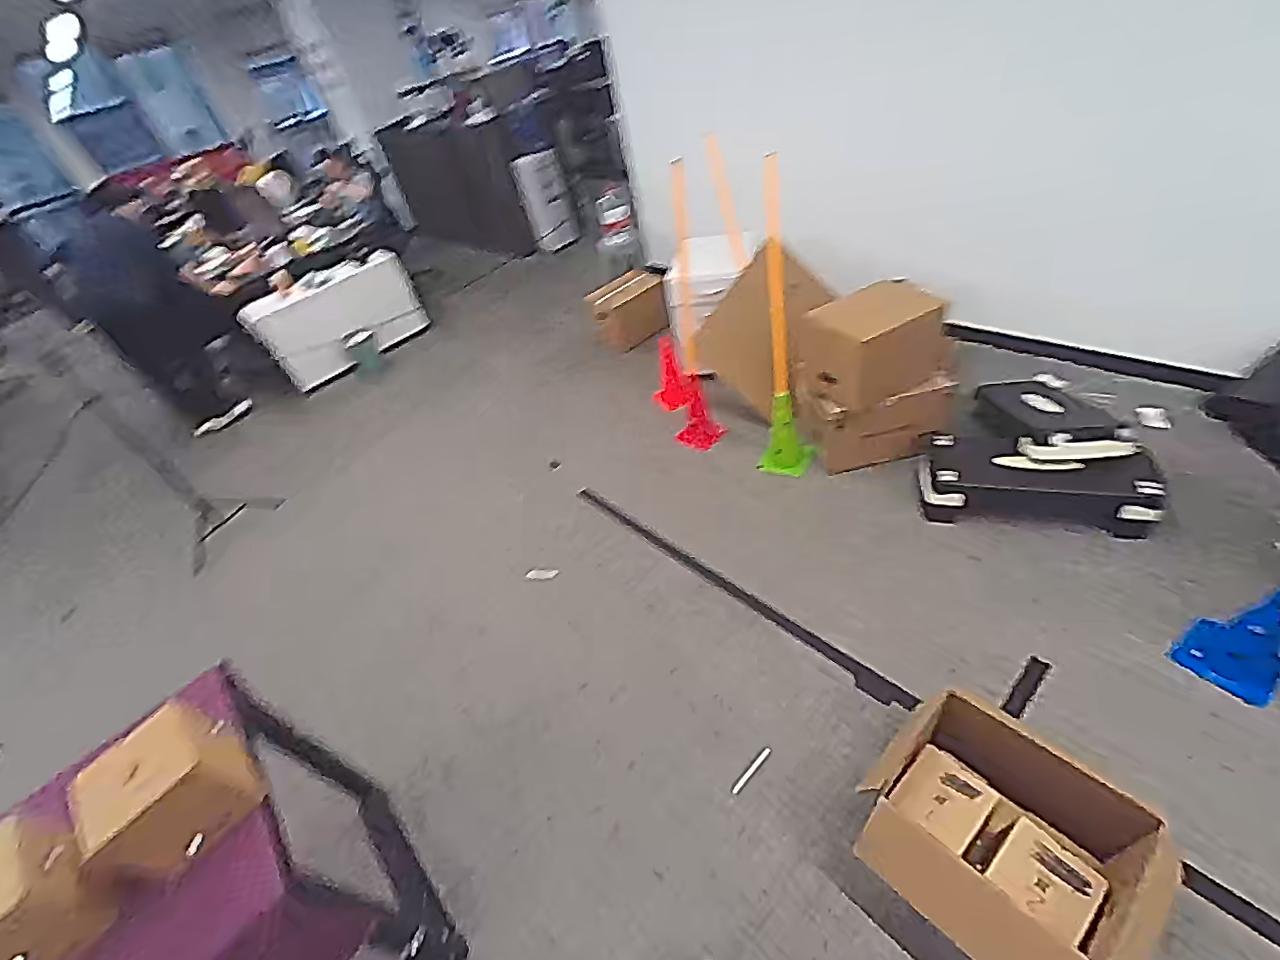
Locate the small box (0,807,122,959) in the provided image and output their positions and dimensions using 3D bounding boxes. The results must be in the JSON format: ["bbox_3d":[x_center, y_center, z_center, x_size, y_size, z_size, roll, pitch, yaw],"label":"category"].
[{"bbox_3d":[-0.967,0.661,0.841,0.179,0.176,0.168,24,55,36],"label":"small box"}]

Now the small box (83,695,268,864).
[{"bbox_3d":[-0.799,0.521,0.940,0.179,0.176,0.168,25,58,37],"label":"small box"}]
